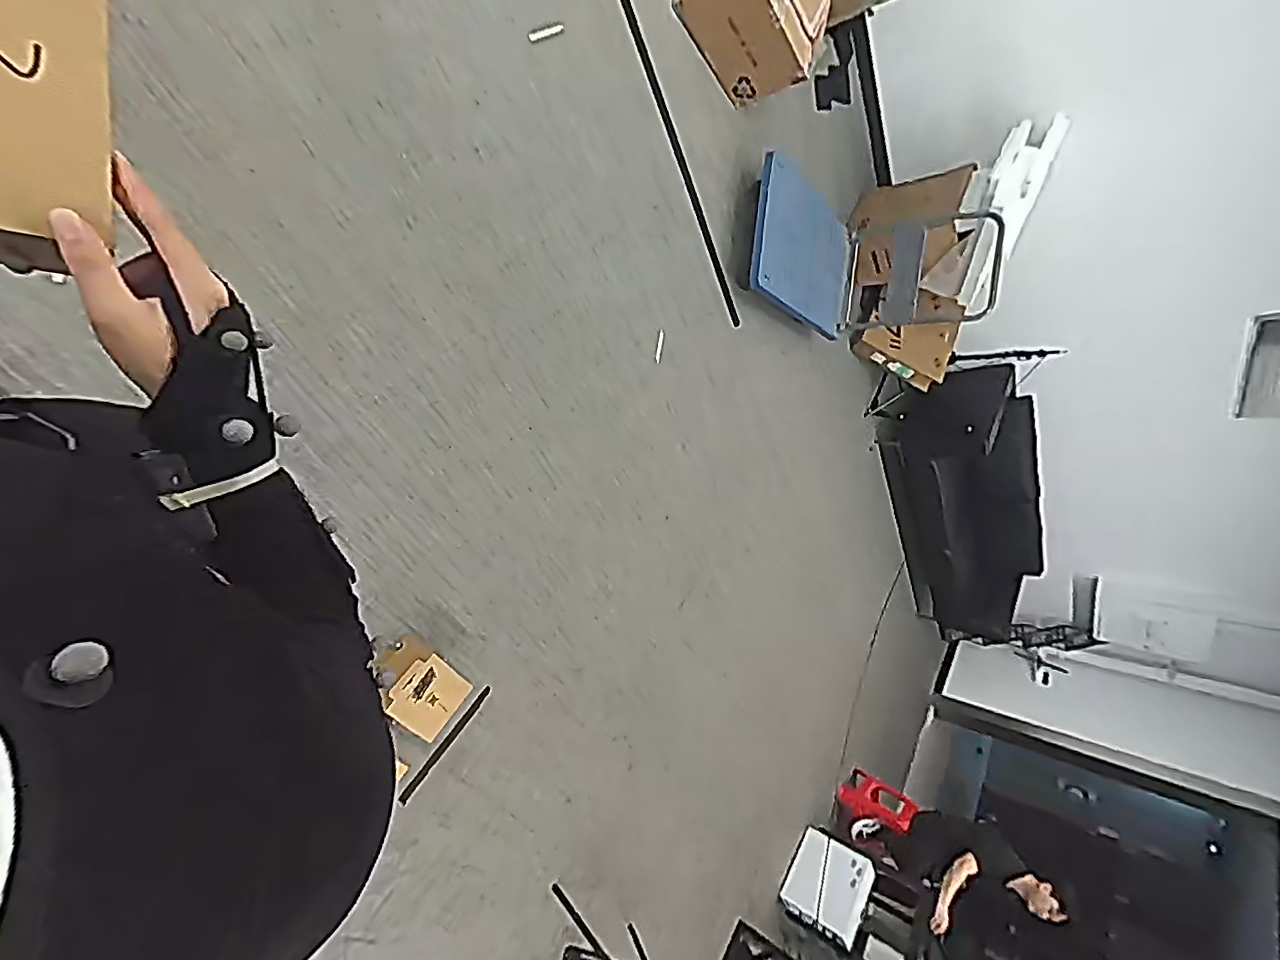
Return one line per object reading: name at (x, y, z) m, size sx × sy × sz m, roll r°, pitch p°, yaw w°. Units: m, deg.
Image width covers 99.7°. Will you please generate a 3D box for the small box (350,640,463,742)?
small box at (-0.608, 0.537, 1.403) m, size 0.168 × 0.176 × 0.179 m, roll -52°, pitch 131°, yaw -30°
